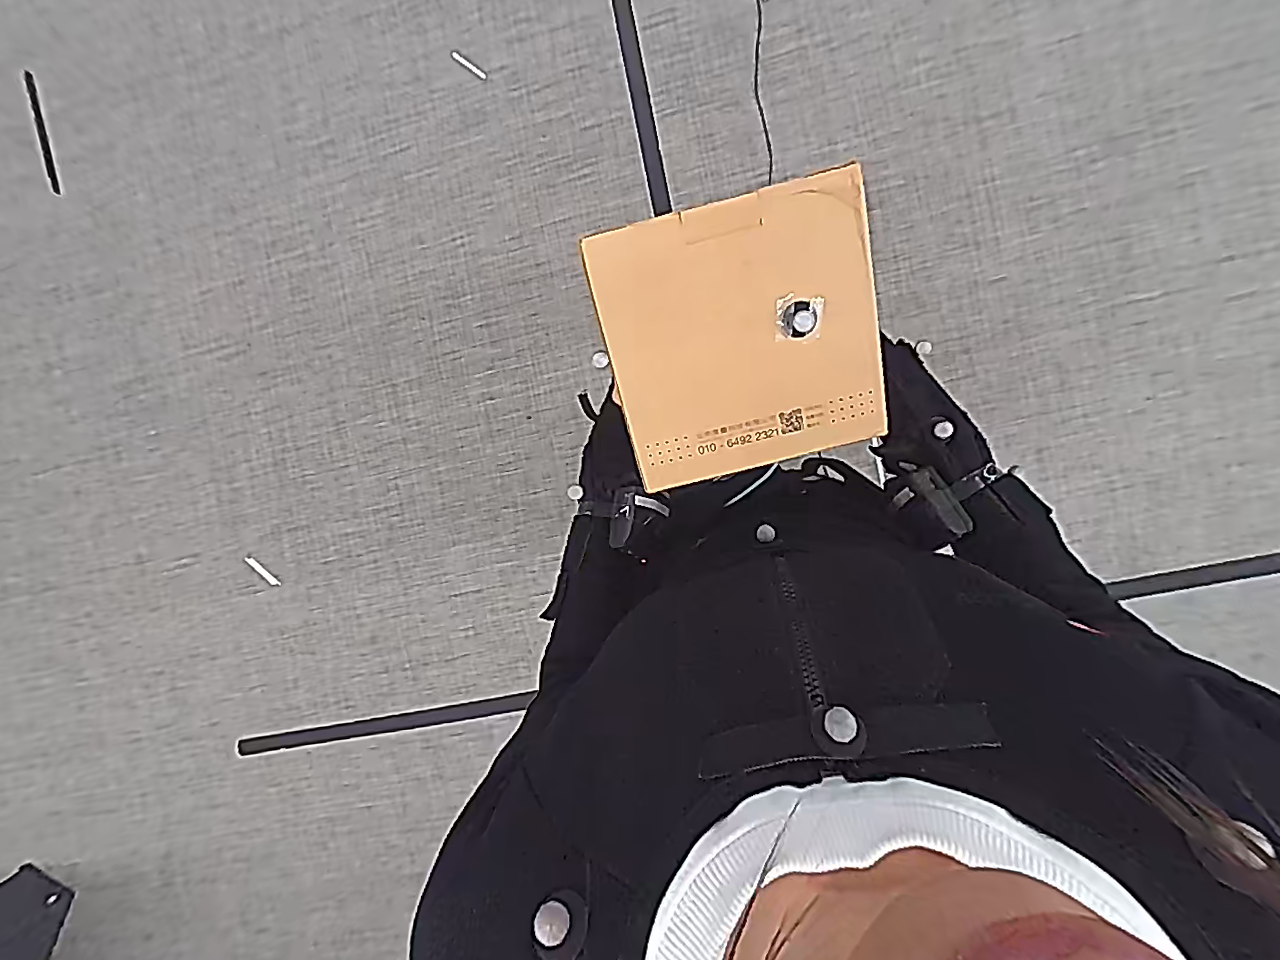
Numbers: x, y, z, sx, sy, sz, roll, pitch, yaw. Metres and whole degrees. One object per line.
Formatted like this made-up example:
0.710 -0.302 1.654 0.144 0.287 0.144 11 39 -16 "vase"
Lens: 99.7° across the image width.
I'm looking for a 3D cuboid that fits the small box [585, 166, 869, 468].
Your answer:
0.065 -0.119 0.427 0.168 0.179 0.176 -13 111 5 "small box"
